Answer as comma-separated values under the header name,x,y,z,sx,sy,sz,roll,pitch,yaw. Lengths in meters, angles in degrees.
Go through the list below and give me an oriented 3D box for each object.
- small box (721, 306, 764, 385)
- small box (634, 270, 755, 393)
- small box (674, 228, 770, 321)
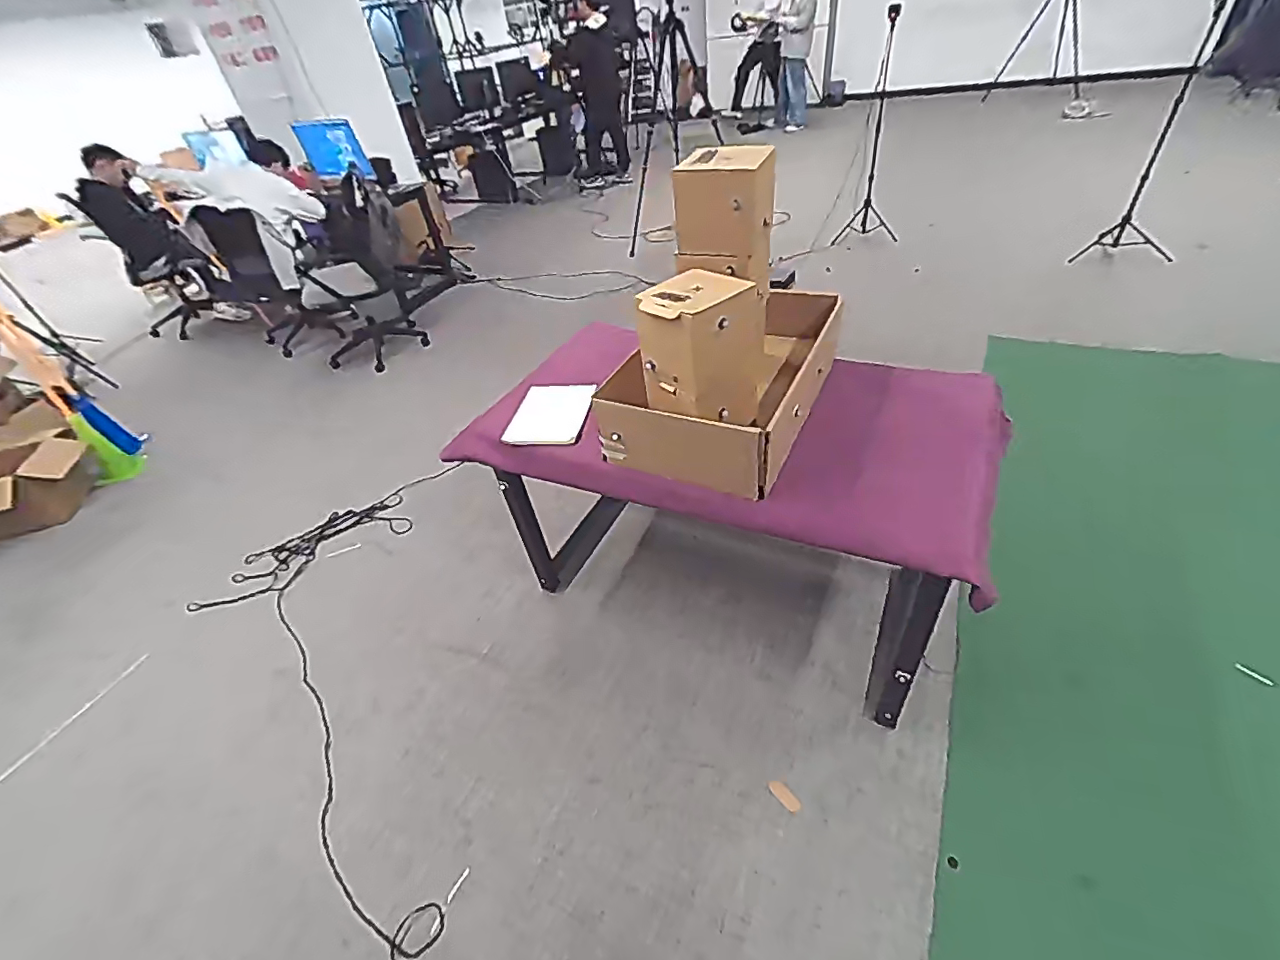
name,x,y,z,sx,sy,sz,roll,pitch,yaw
small box,0.217,-0.364,1.388,0.168,0.176,0.179,15,49,26
small box,0.115,-0.295,1.076,0.179,0.176,0.168,-33,45,-26
small box,0.198,-0.479,1.275,0.179,0.176,0.168,13,48,24
